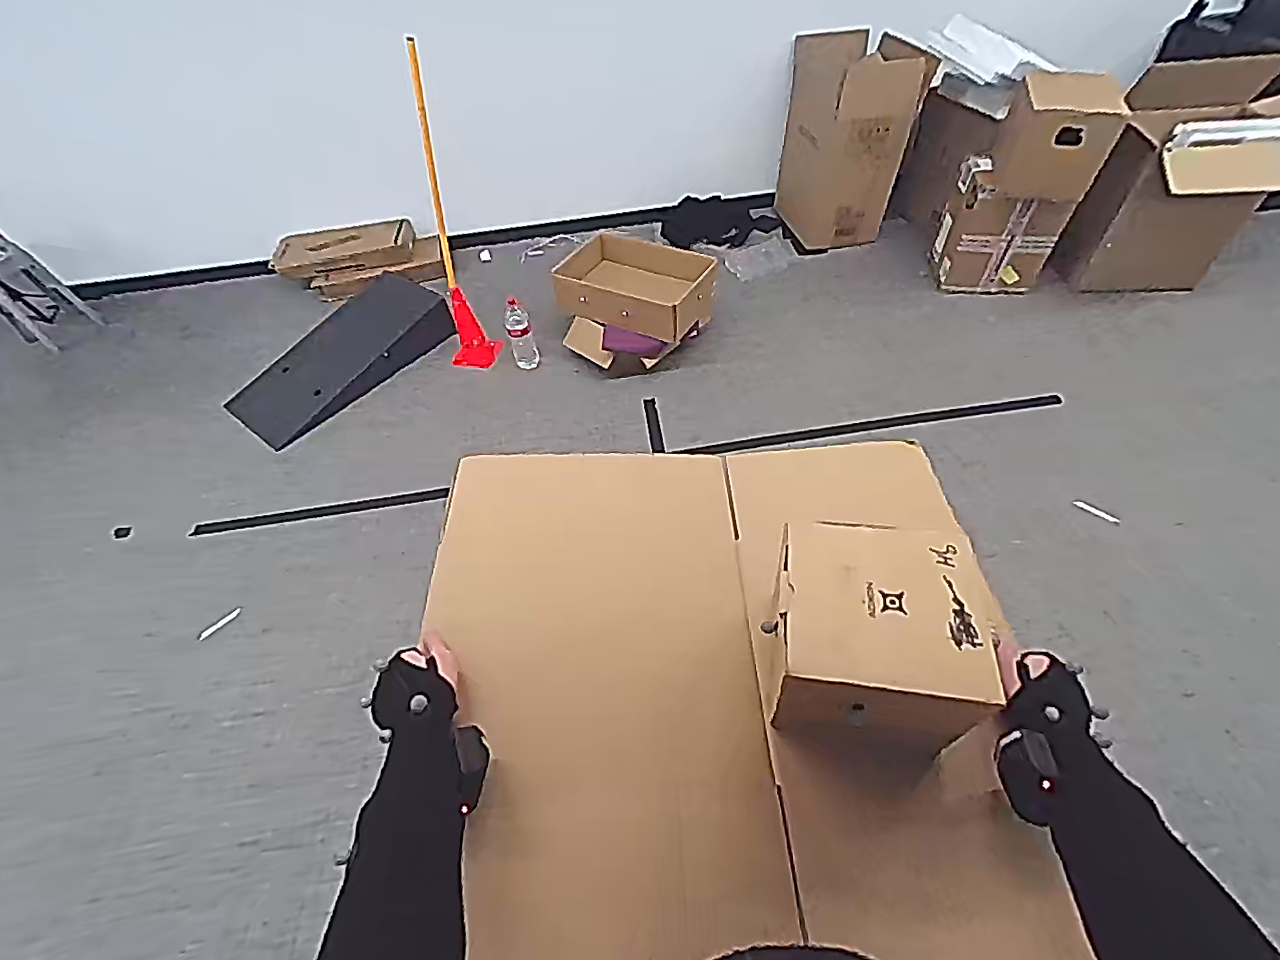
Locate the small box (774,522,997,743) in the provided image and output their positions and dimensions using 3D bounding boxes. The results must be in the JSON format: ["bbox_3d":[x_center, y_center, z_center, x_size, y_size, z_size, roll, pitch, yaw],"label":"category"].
[{"bbox_3d":[0.236,0.163,0.570,0.179,0.176,0.168,3,53,12],"label":"small box"}]
